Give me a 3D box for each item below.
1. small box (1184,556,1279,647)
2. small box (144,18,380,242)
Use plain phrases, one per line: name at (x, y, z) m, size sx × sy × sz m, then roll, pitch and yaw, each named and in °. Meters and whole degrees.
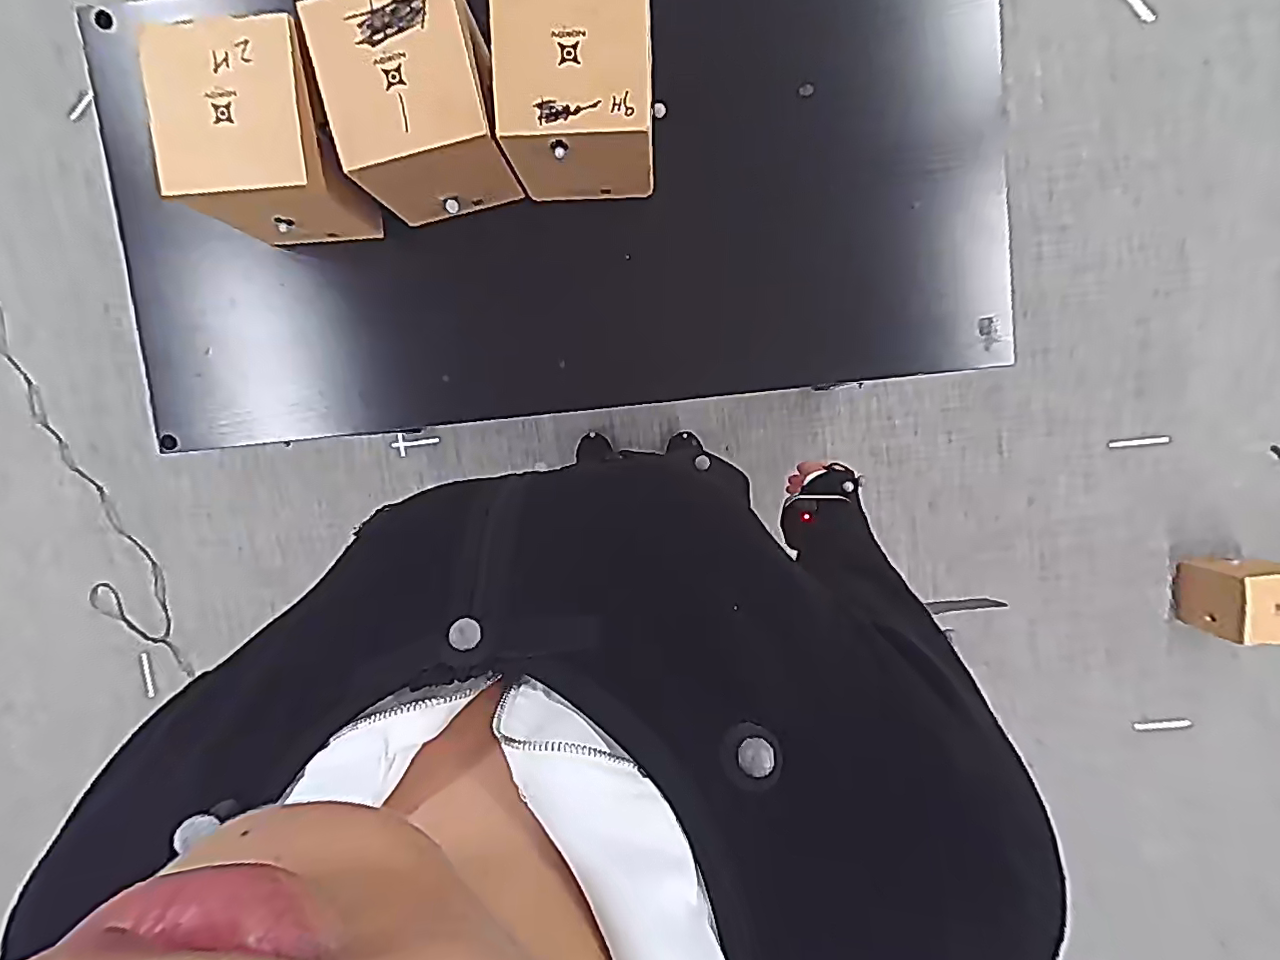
small box at (1.542, 0.302, 1.373) m, size 0.168 × 0.176 × 0.179 m, roll -7°, pitch 95°, yaw 2°
small box at (-0.441, -0.405, 0.661) m, size 0.168 × 0.176 × 0.179 m, roll -3°, pitch 95°, yaw 2°
